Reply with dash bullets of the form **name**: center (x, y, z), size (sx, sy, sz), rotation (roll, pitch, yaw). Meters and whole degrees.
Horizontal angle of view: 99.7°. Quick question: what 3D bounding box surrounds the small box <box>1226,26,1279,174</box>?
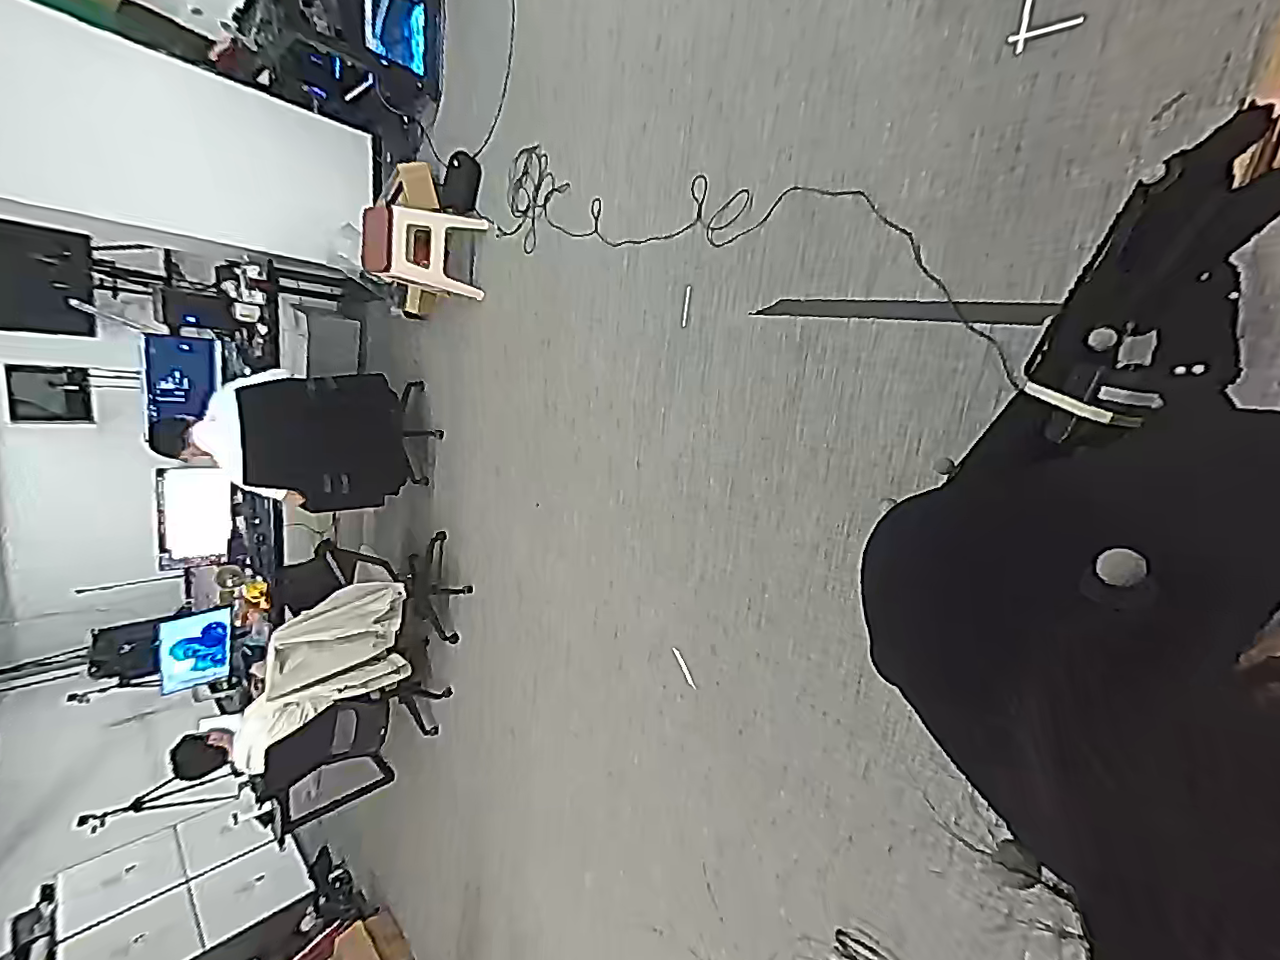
- **small box**: center (0.518, -0.282, 0.321), size (0.179, 0.176, 0.168), rotation (18, 120, 31)
